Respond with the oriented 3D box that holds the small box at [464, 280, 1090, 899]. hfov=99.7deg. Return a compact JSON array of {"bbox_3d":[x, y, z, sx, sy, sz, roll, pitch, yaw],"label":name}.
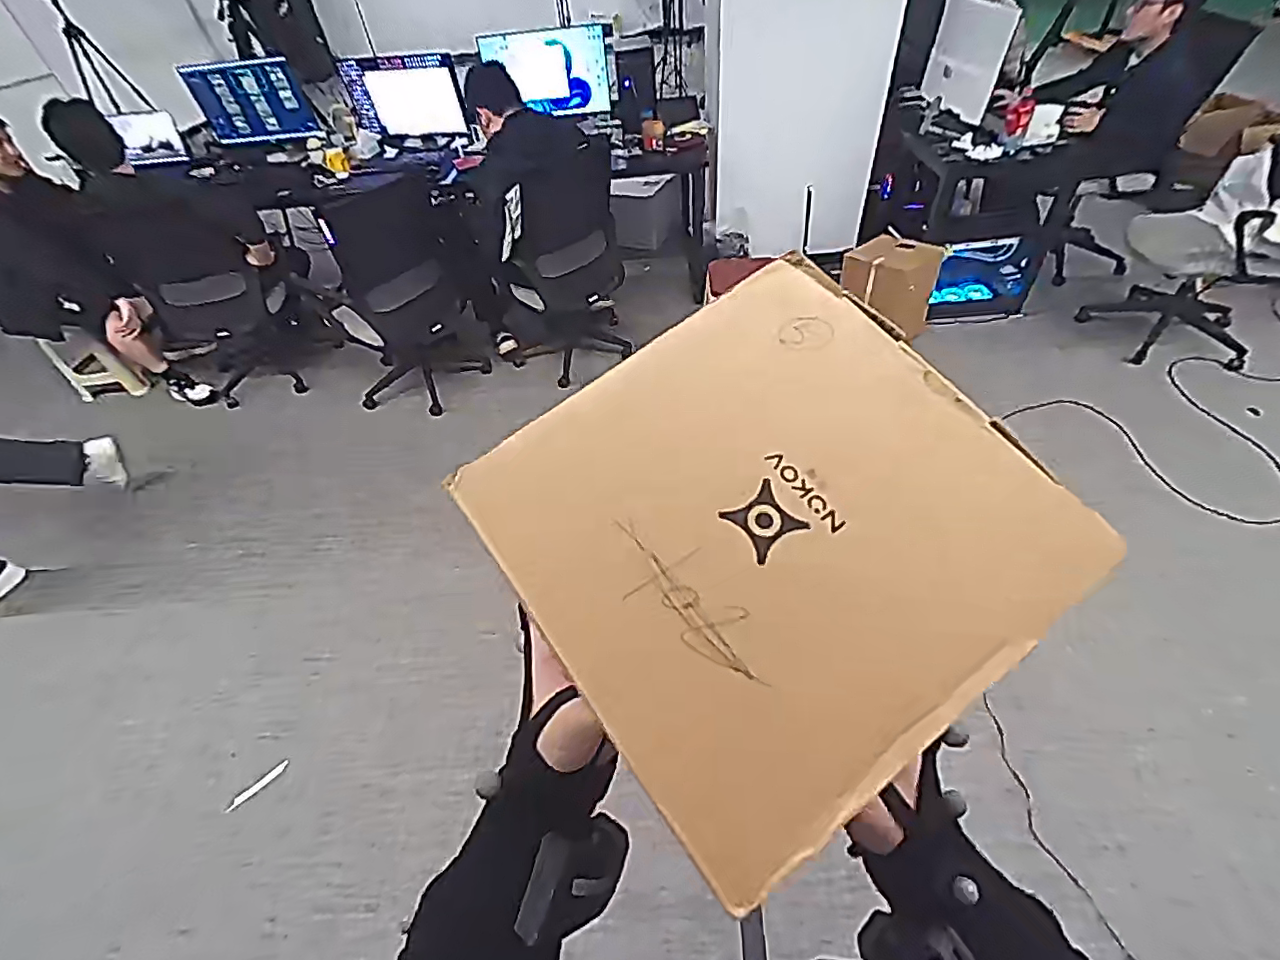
[{"bbox_3d":[0.049,0.046,0.276,0.179,0.176,0.168,-36,72,-10],"label":"small box"}]
